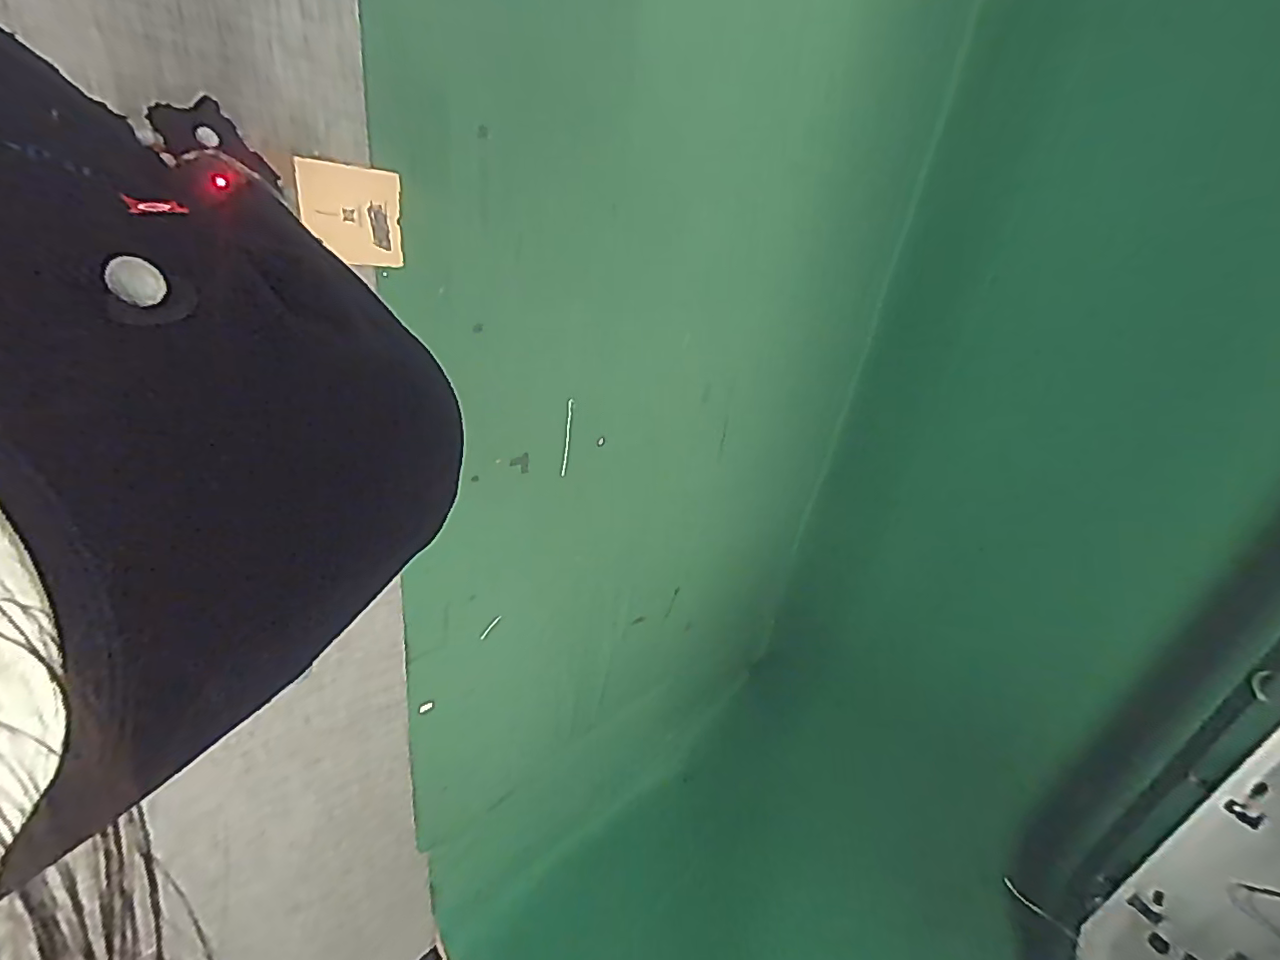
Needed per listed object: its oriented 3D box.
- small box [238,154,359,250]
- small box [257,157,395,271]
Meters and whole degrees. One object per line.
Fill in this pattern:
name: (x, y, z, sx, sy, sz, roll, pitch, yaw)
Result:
small box: (-0.693, -0.566, 1.116, 0.179, 0.176, 0.168, -19, 127, -42)
small box: (-0.584, -0.497, 1.013, 0.179, 0.176, 0.168, -17, 125, -44)
